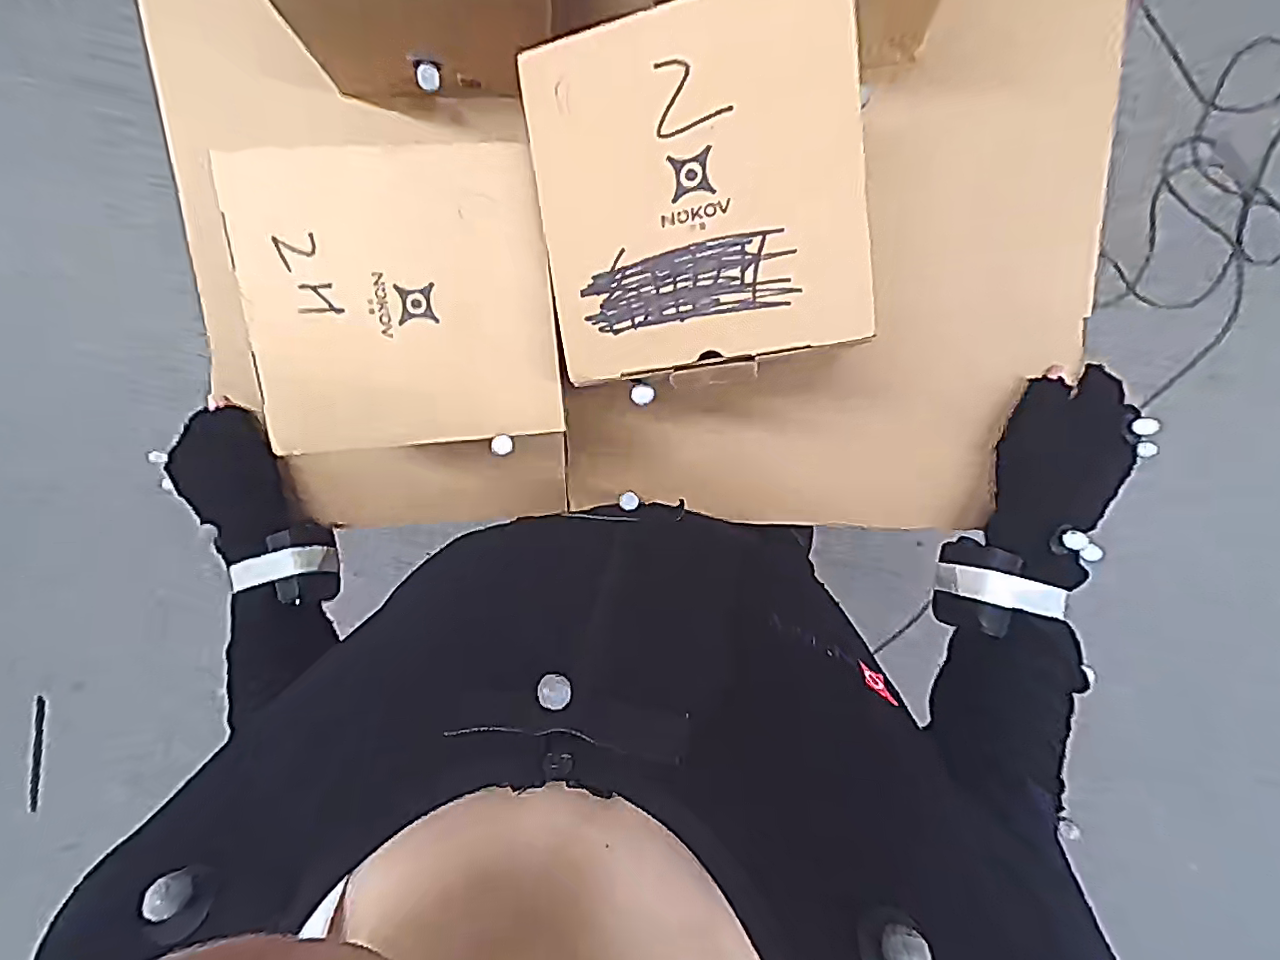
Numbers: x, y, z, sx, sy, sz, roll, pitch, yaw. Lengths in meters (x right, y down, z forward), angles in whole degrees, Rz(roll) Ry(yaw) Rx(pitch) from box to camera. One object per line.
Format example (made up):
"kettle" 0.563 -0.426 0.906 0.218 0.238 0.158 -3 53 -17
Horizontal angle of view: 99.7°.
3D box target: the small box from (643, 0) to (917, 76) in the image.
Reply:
"small box" 0.082 -0.365 0.303 0.168 0.176 0.179 1 101 14
